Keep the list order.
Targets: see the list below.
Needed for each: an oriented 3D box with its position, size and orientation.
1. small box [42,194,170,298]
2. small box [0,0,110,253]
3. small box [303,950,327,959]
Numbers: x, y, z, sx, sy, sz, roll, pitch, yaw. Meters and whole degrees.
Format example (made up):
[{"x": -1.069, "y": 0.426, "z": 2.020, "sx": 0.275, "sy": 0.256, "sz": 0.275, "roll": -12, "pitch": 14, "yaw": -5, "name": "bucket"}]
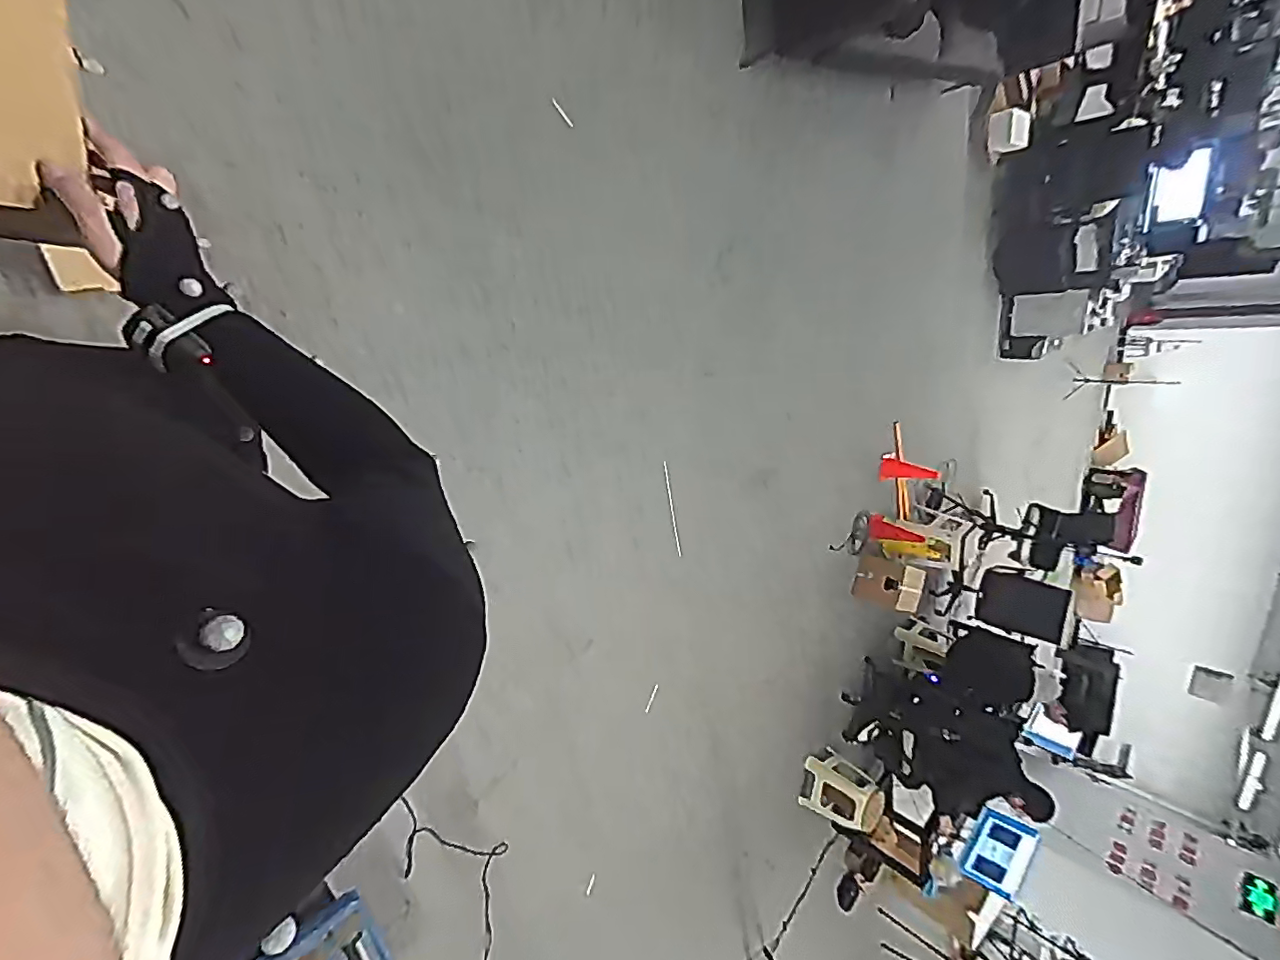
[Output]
[{"x": -1.081, "y": -0.465, "z": 1.087, "sx": 0.168, "sy": 0.176, "sz": 0.179, "roll": -23, "pitch": 115, "yaw": -37, "name": "small box"}, {"x": -0.583, "y": -0.318, "z": 0.463, "sx": 0.168, "sy": 0.176, "sz": 0.179, "roll": -9, "pitch": 98, "yaw": -41, "name": "small box"}, {"x": -0.896, "y": 1.419, "z": 1.431, "sx": 0.179, "sy": 0.176, "sz": 0.168, "roll": -22, "pitch": 113, "yaw": -37, "name": "small box"}]
